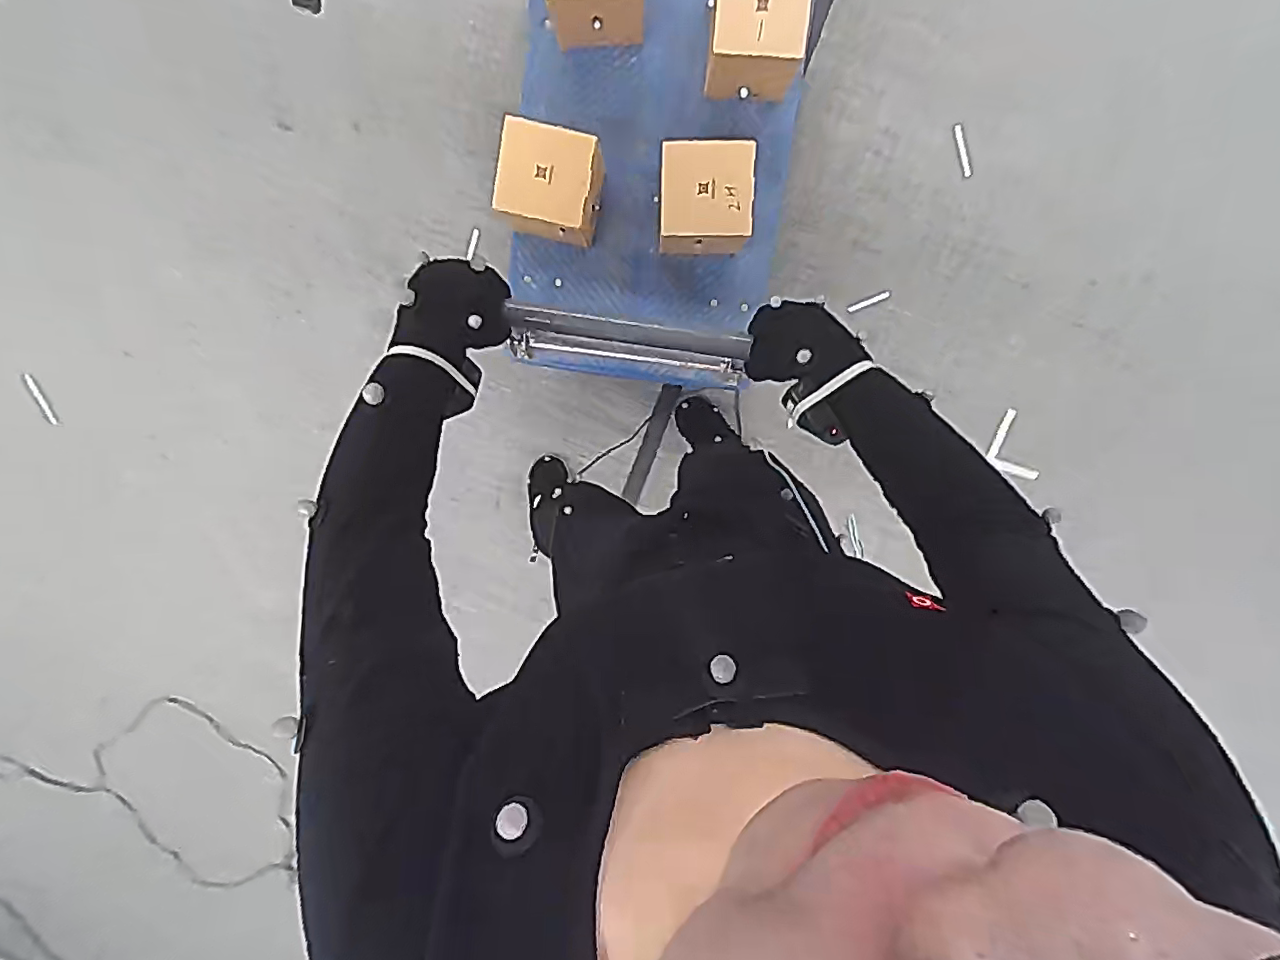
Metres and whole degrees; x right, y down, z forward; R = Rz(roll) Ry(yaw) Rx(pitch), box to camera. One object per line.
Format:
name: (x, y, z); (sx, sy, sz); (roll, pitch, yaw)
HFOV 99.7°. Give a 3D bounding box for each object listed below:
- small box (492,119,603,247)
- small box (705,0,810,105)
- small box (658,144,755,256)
small box: (-0.180, -0.587, 1.093); (0.179, 0.176, 0.168); (12, 102, -2)
small box: (0.217, -0.852, 1.023); (0.168, 0.176, 0.179); (4, 103, 1)
small box: (0.126, -0.555, 1.090); (0.179, 0.176, 0.168); (1, 102, 2)
